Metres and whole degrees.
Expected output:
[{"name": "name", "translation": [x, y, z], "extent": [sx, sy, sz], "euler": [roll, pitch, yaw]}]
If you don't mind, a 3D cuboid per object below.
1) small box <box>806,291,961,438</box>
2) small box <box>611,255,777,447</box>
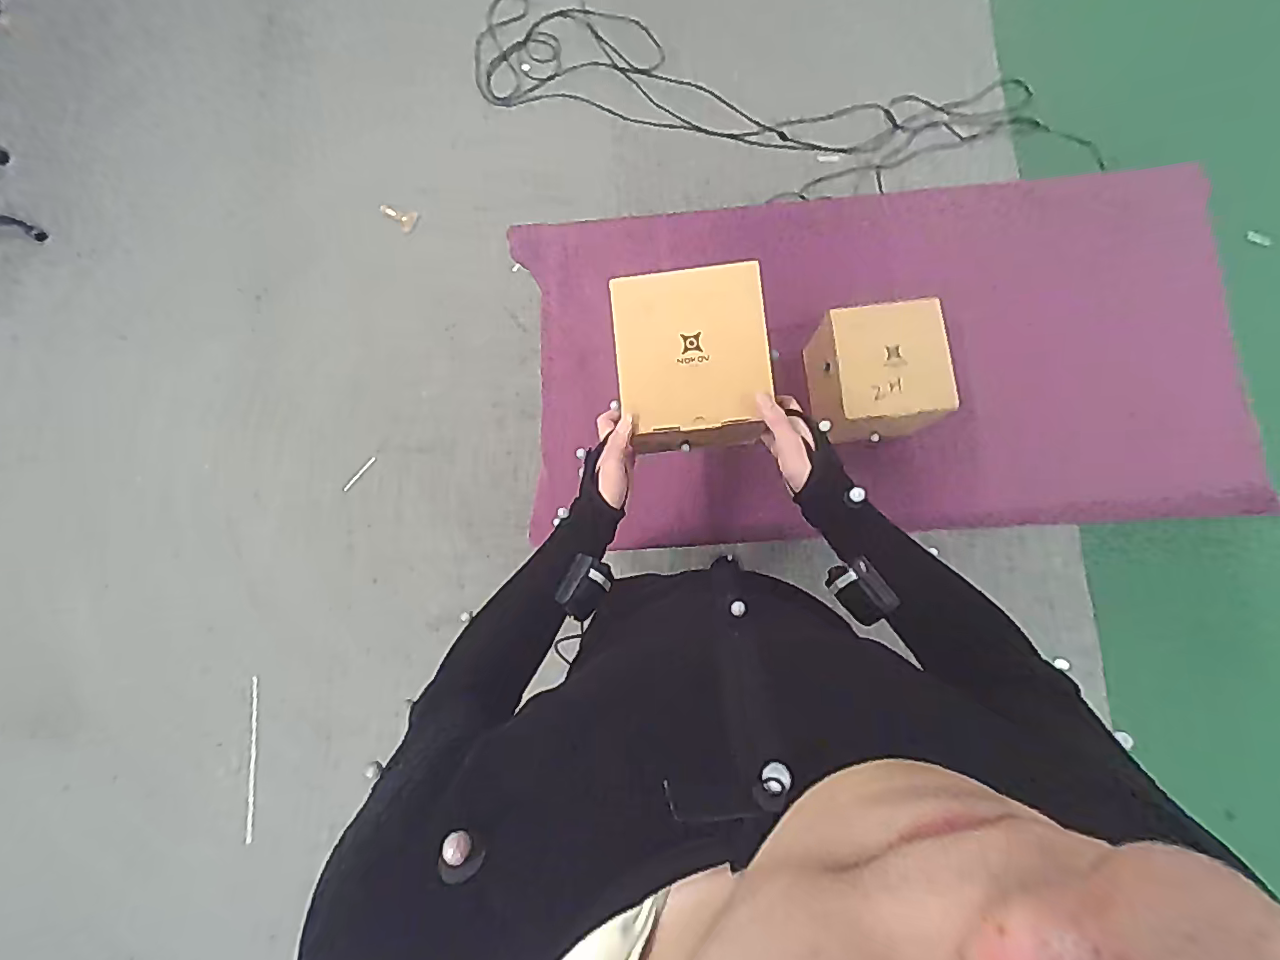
[{"name": "small box", "translation": [0.376, -0.176, 0.868], "extent": [0.168, 0.176, 0.179], "euler": [-6, 81, 3]}, {"name": "small box", "translation": [0.059, -0.142, 0.650], "extent": [0.168, 0.176, 0.179], "euler": [-5, 87, 3]}]
